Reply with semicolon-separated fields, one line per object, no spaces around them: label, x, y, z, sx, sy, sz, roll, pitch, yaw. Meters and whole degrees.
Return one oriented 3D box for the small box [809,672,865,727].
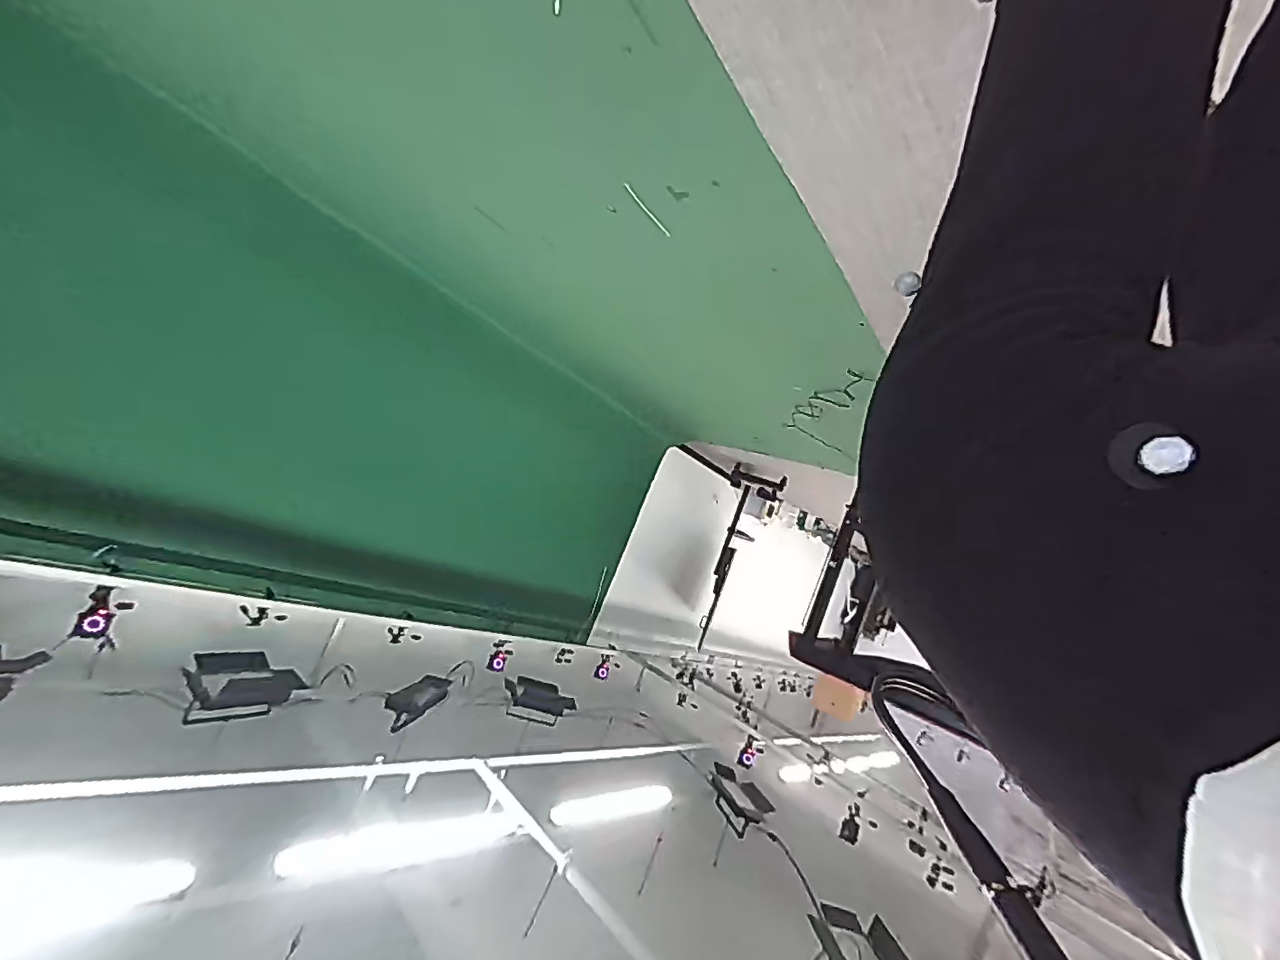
small box;0.879;0.969;2.393;0.179;0.176;0.168;16;171;39
